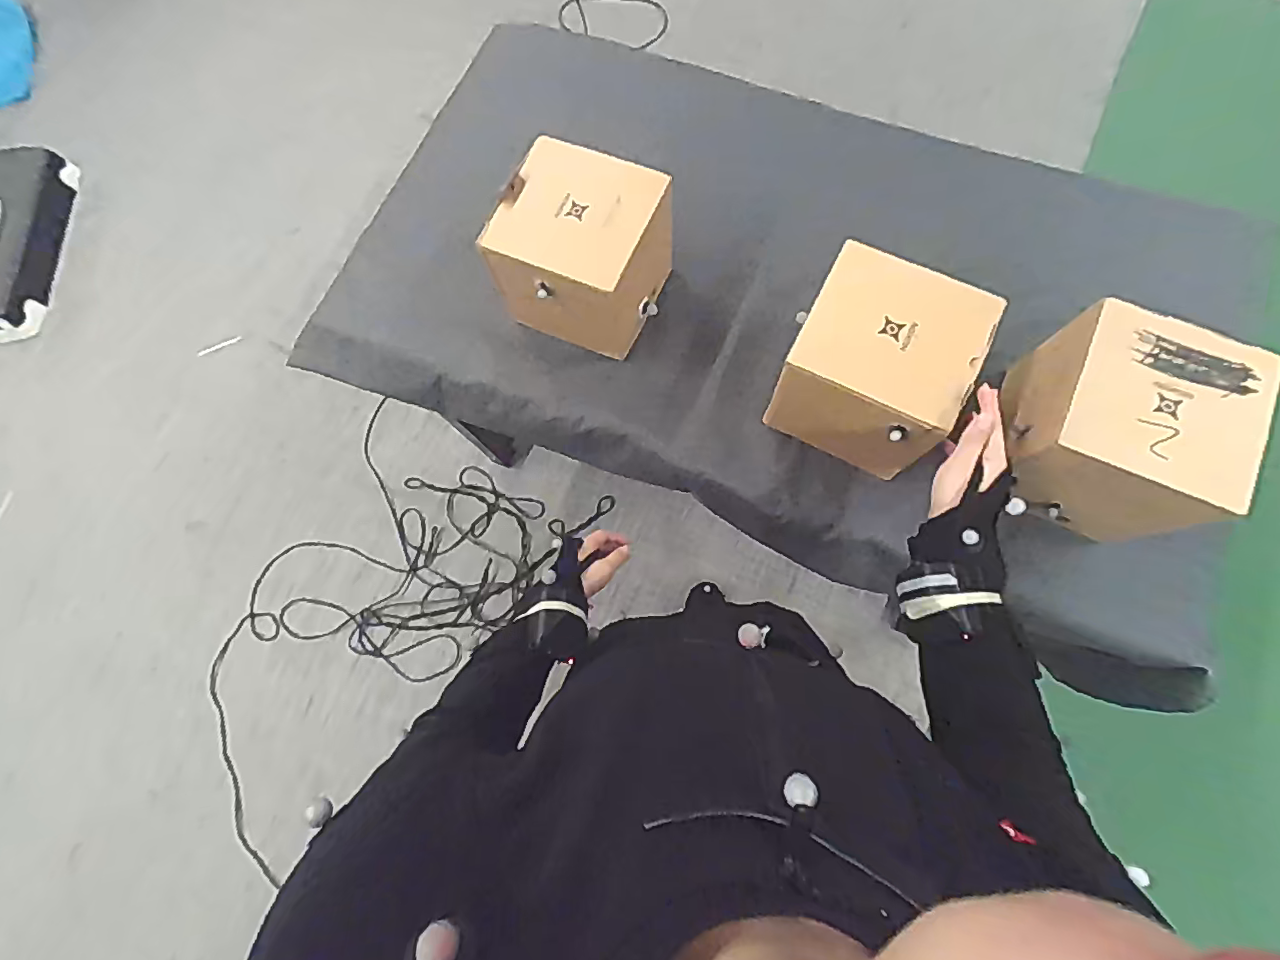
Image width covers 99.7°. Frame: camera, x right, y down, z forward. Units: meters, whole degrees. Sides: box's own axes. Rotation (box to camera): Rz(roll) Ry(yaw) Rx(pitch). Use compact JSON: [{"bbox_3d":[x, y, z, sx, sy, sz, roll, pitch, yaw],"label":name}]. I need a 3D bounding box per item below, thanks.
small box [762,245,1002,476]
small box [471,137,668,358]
[{"bbox_3d":[0.258,-0.124,0.622,0.179,0.176,0.168,27,77,9],"label":"small box"},{"bbox_3d":[-0.076,-0.280,0.684,0.179,0.176,0.168,23,78,8],"label":"small box"}]
